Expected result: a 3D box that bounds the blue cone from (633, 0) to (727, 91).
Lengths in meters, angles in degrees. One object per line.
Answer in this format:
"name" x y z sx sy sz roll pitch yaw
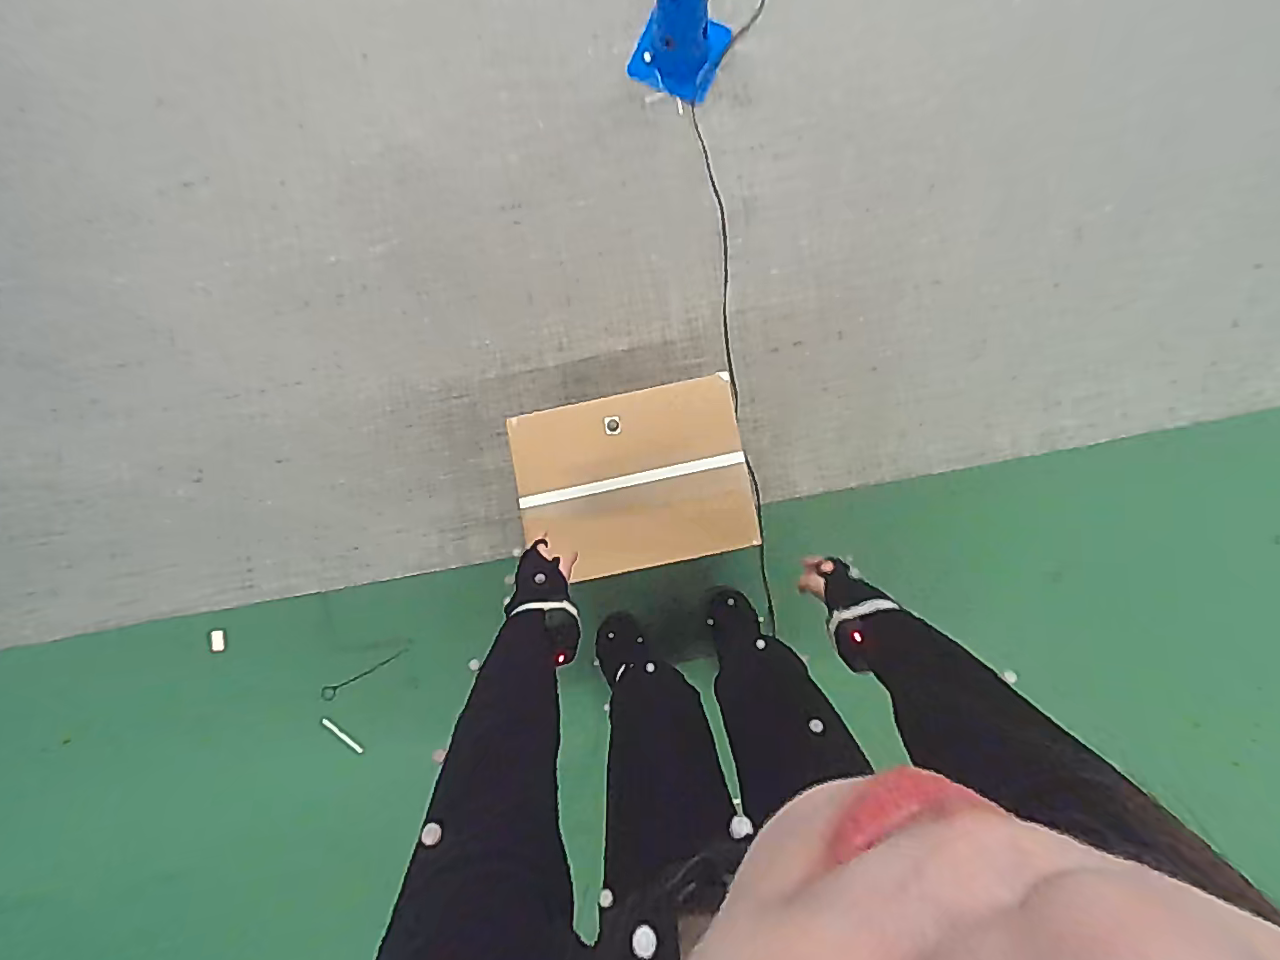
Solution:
"blue cone" 0.085 -1.011 1.089 0.192 0.380 0.193 22 91 3
